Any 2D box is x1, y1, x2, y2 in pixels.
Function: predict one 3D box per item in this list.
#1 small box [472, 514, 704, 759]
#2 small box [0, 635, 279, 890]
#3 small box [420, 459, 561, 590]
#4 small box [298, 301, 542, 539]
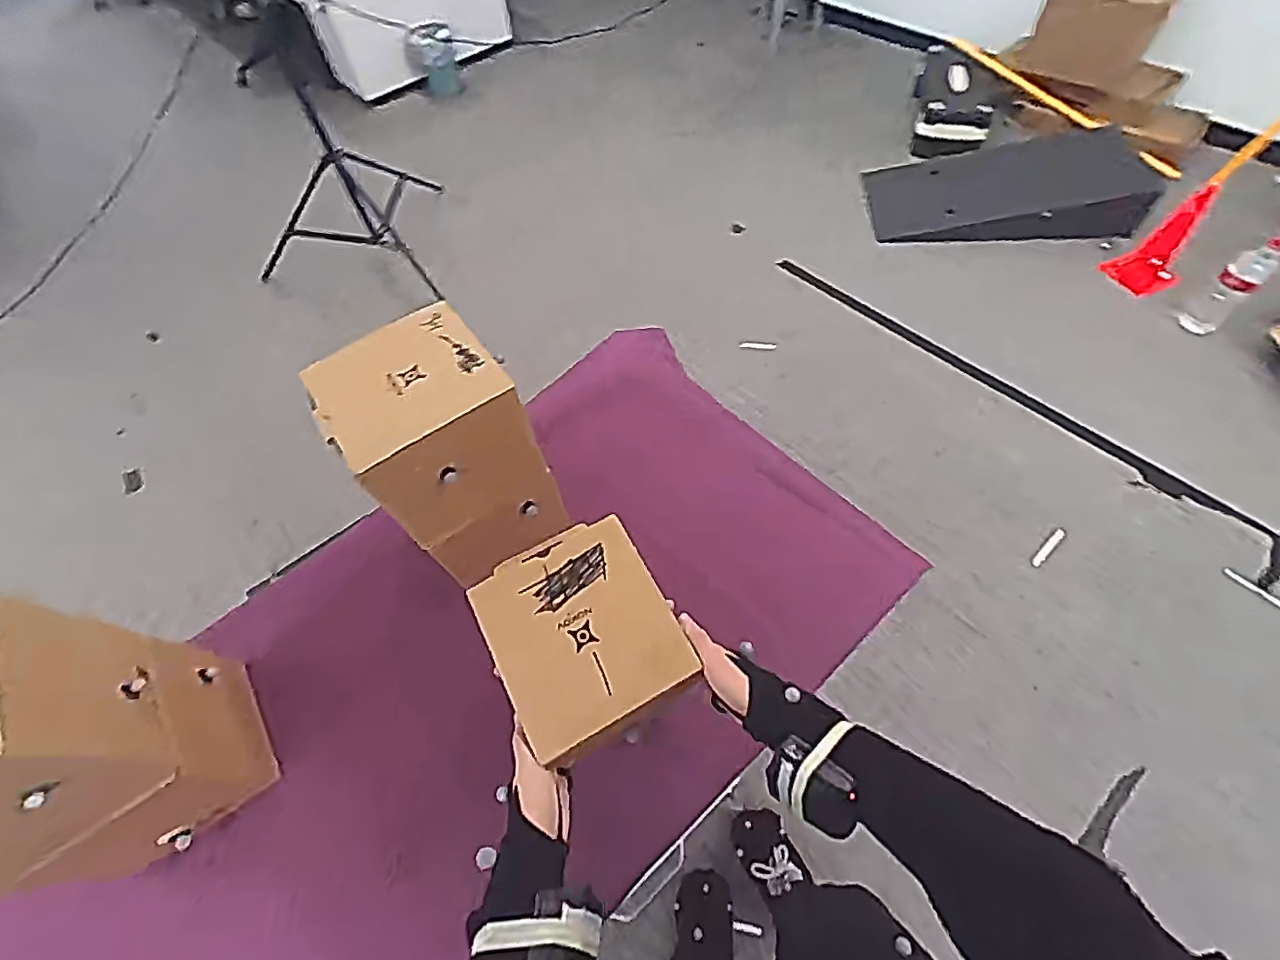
[{"bbox_3d":[-0.050,0.171,0.572,0.168,0.176,0.179,-27,65,-10],"label":"small box"},{"bbox_3d":[-0.559,0.311,0.613,0.168,0.176,0.179,-34,65,-14],"label":"small box"},{"bbox_3d":[-0.227,0.022,0.762,0.179,0.176,0.168,-36,63,-16],"label":"small box"},{"bbox_3d":[-0.238,-0.061,0.621,0.179,0.176,0.168,-35,64,-15],"label":"small box"}]
